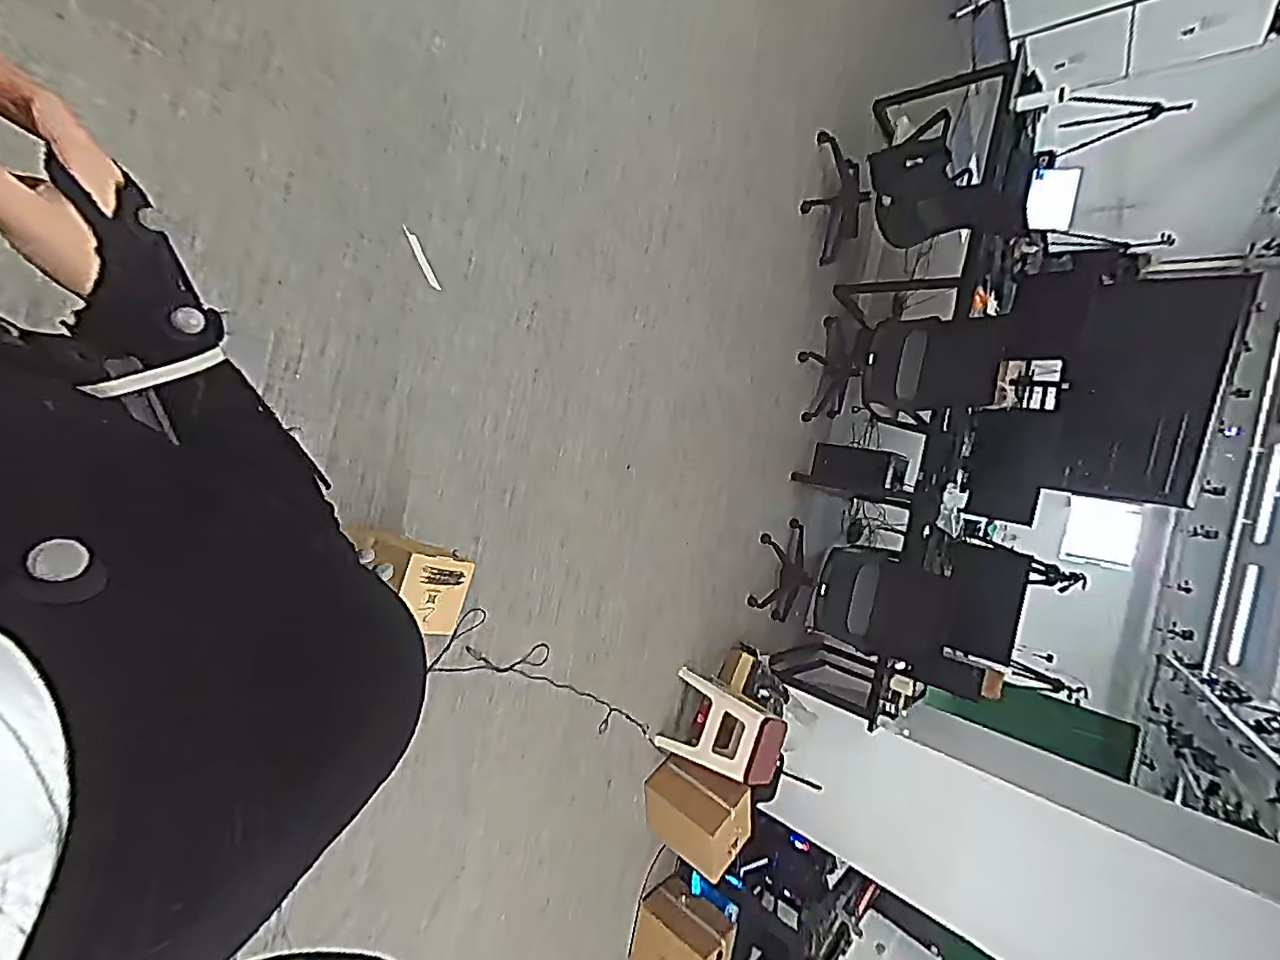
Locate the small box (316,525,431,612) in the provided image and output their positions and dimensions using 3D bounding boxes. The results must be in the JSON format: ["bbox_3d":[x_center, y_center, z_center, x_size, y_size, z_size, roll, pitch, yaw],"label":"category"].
[{"bbox_3d":[-0.662,0.218,1.342,0.179,0.176,0.168,24,80,-49],"label":"small box"}]
